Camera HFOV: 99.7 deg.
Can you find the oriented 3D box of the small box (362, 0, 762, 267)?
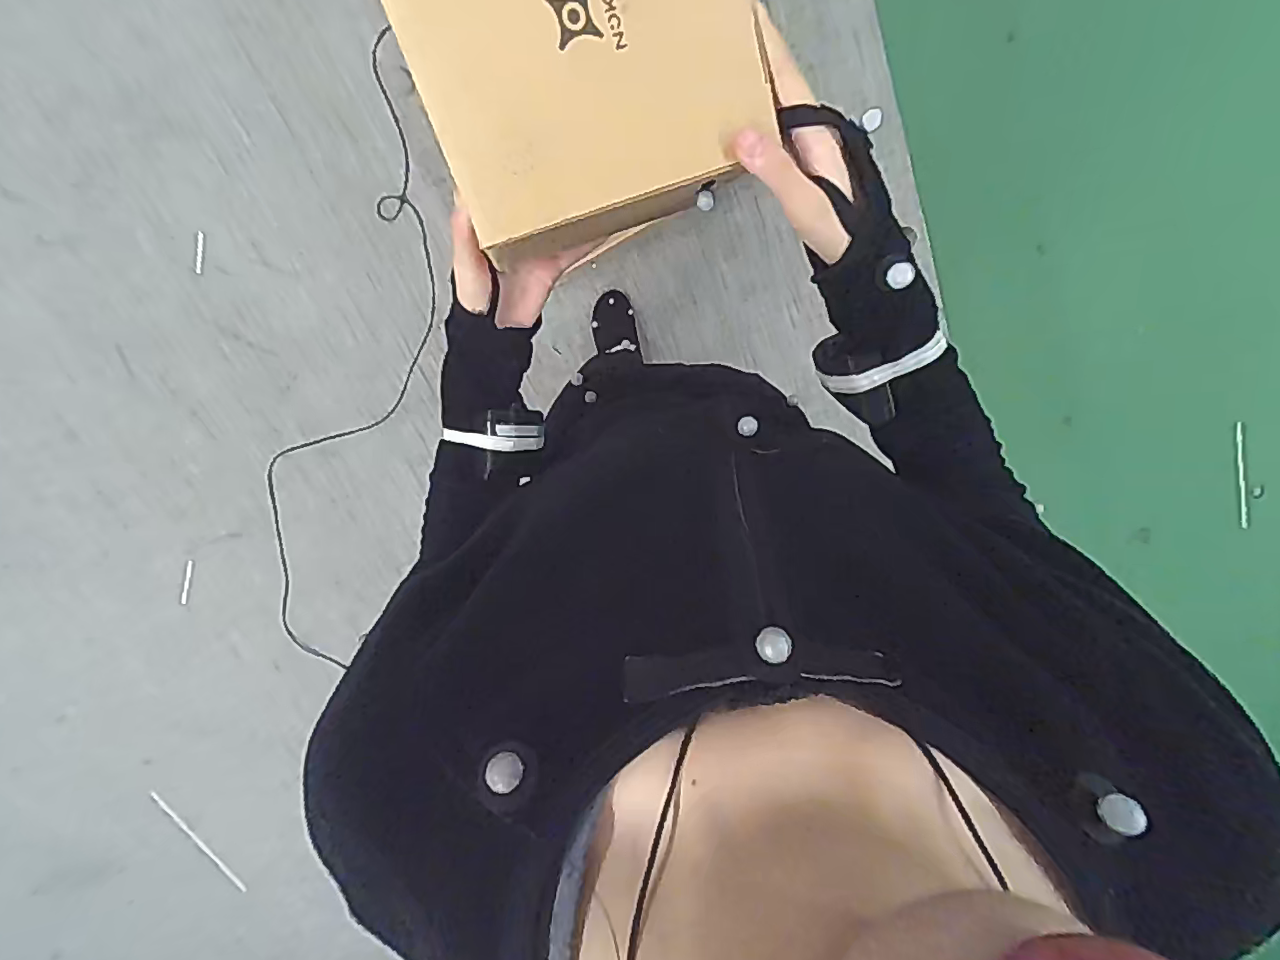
[{"bbox_3d":[-0.054,-0.247,0.339,0.179,0.176,0.168,-23,110,-7],"label":"small box"}]
